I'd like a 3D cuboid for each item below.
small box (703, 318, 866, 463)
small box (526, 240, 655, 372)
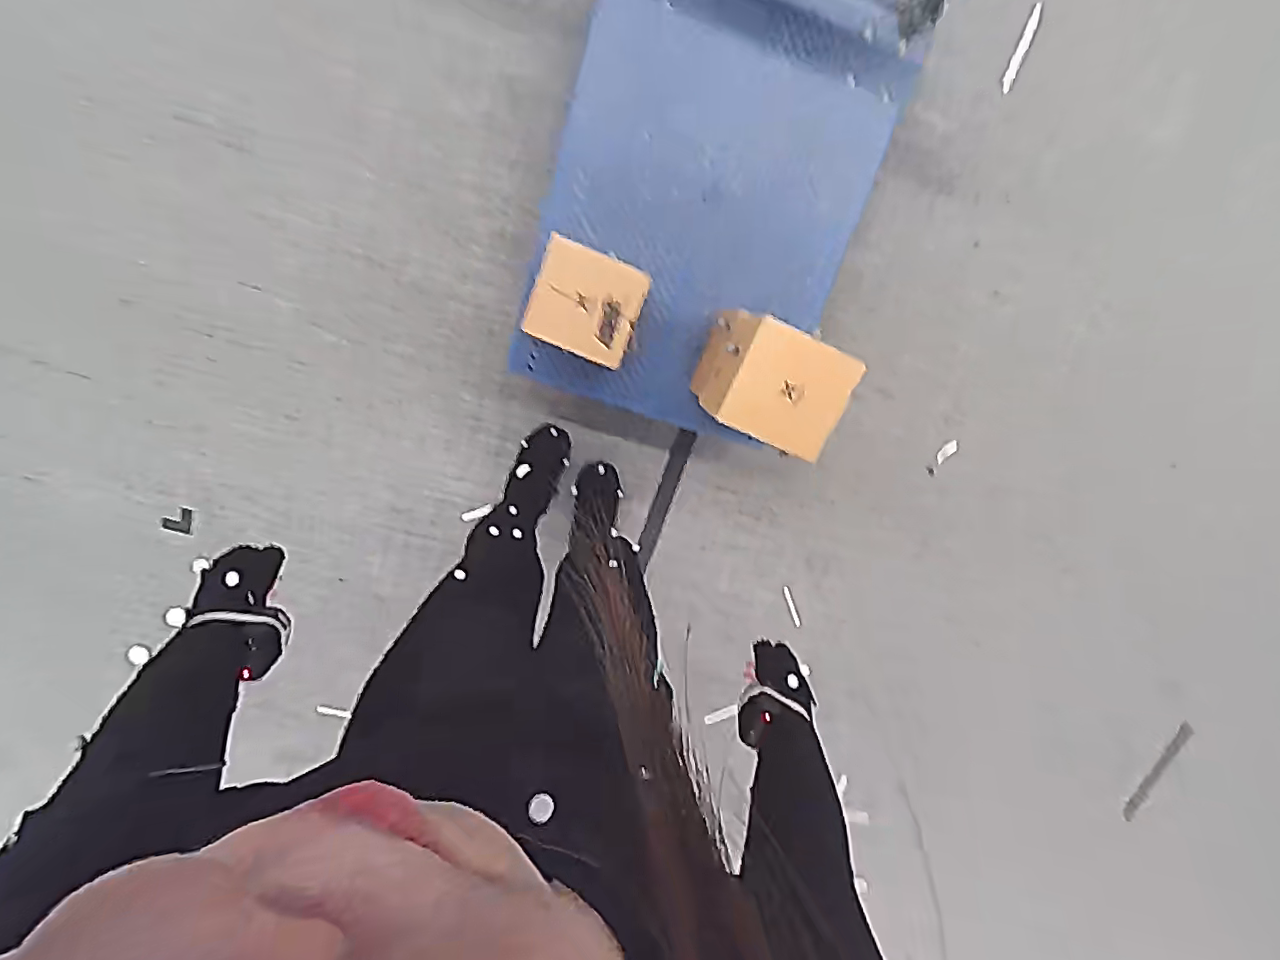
[{"bbox_3d":[0.221,-0.151,0.884,0.179,0.176,0.168,22,104,-11],"label":"small box"},{"bbox_3d":[-0.088,-0.314,0.986,0.179,0.176,0.168,21,104,-8],"label":"small box"}]
